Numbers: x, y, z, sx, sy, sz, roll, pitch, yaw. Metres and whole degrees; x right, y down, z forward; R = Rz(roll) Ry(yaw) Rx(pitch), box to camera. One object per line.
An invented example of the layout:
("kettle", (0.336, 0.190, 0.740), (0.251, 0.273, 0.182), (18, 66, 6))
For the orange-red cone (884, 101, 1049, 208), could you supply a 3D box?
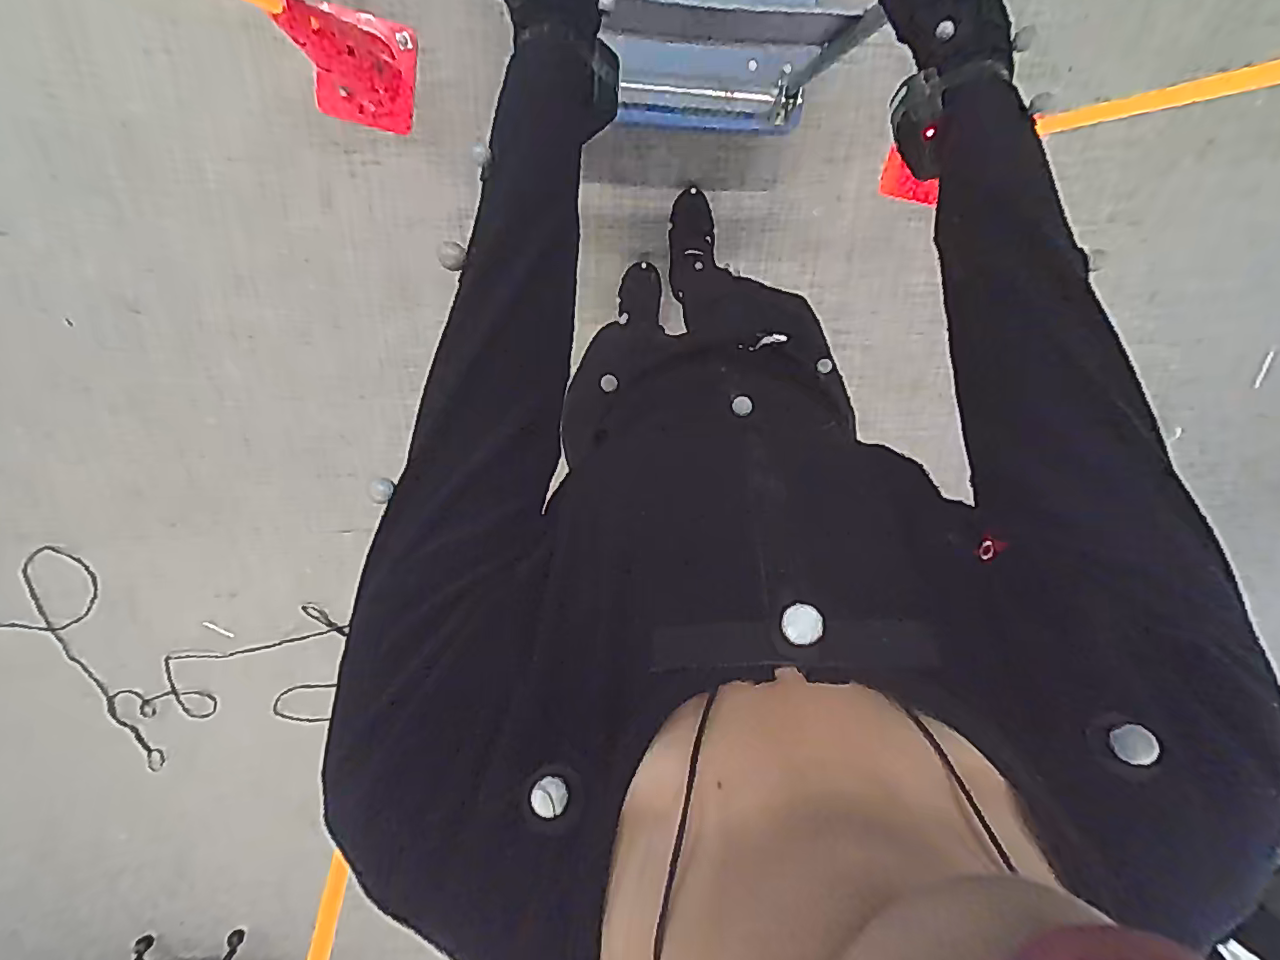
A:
("orange-red cone", (0.709, -0.705, 1.133), (0.198, 0.360, 0.199), (9, 113, -7))
